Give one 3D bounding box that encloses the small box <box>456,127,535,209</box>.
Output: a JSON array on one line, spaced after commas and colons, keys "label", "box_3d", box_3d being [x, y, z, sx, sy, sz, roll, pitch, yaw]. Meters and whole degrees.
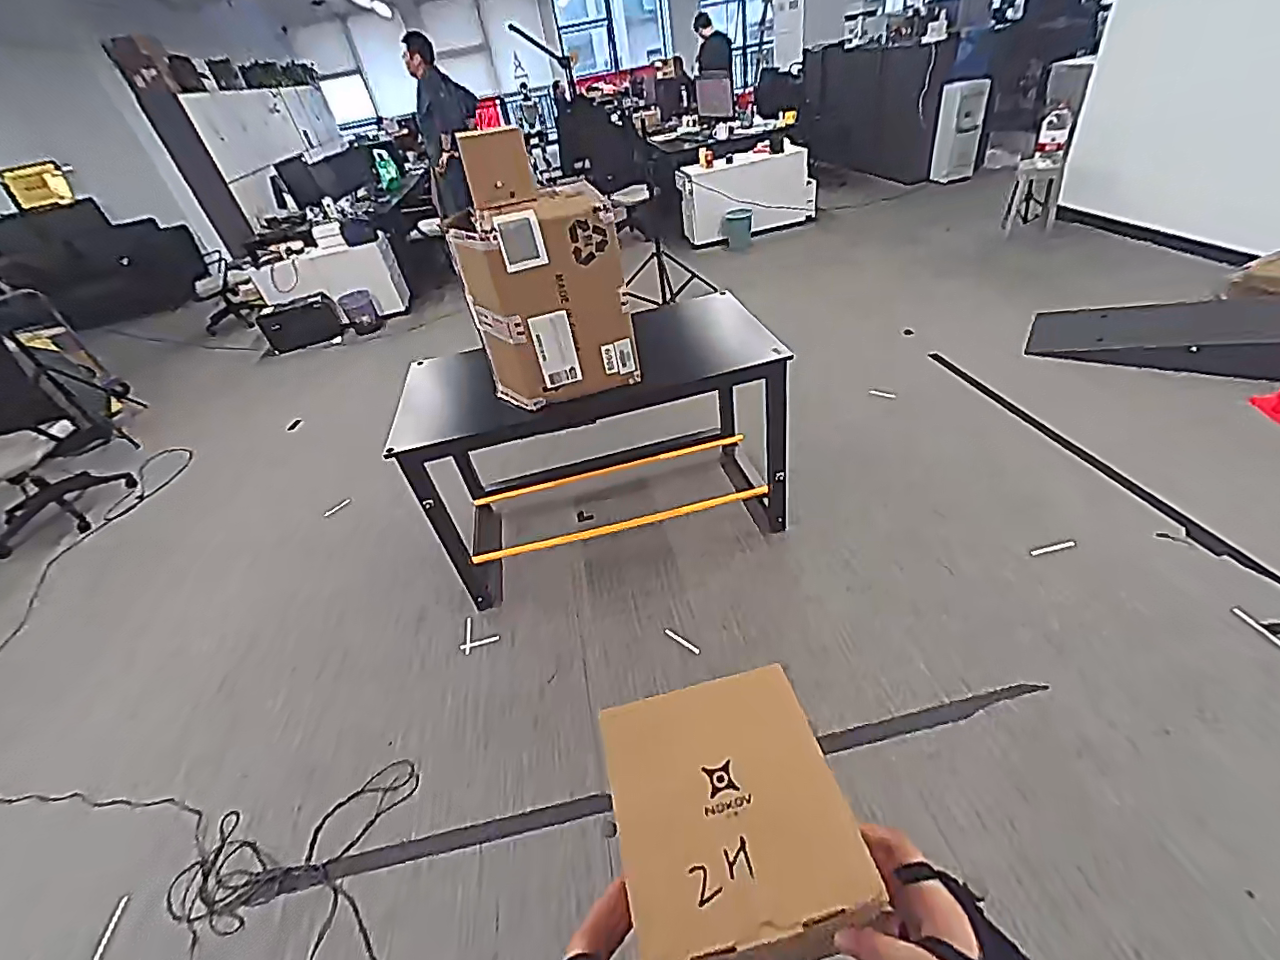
[{"label": "small box", "box_3d": [-0.390, -0.843, 1.463, 0.168, 0.176, 0.179, -16, 37, -9]}]
